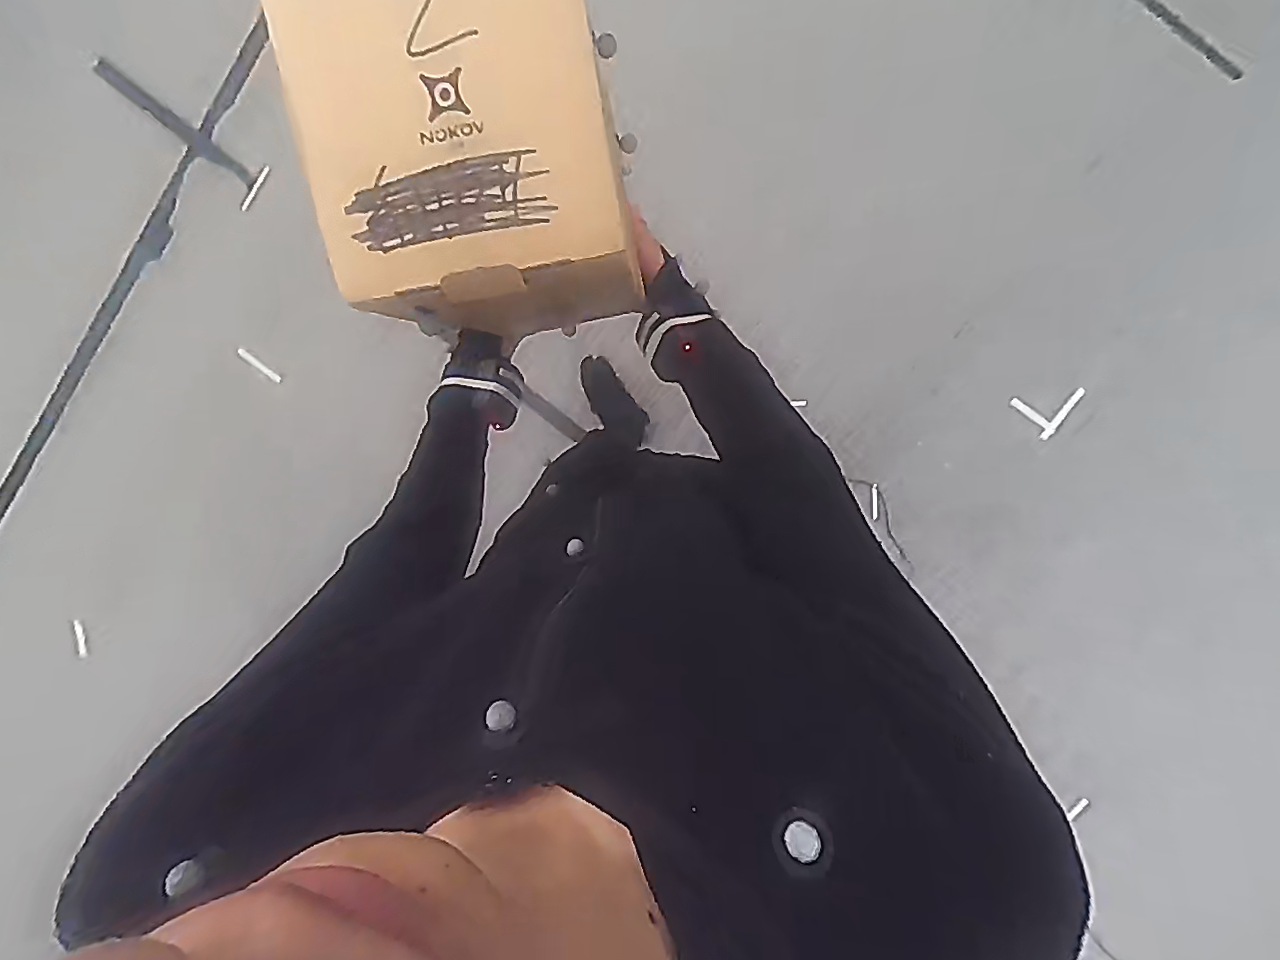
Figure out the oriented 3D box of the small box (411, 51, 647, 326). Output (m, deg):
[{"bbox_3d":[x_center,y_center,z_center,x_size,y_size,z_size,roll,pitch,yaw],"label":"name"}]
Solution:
[{"bbox_3d":[-0.088,-0.255,0.520,0.168,0.176,0.179,-10,102,4],"label":"small box"}]
